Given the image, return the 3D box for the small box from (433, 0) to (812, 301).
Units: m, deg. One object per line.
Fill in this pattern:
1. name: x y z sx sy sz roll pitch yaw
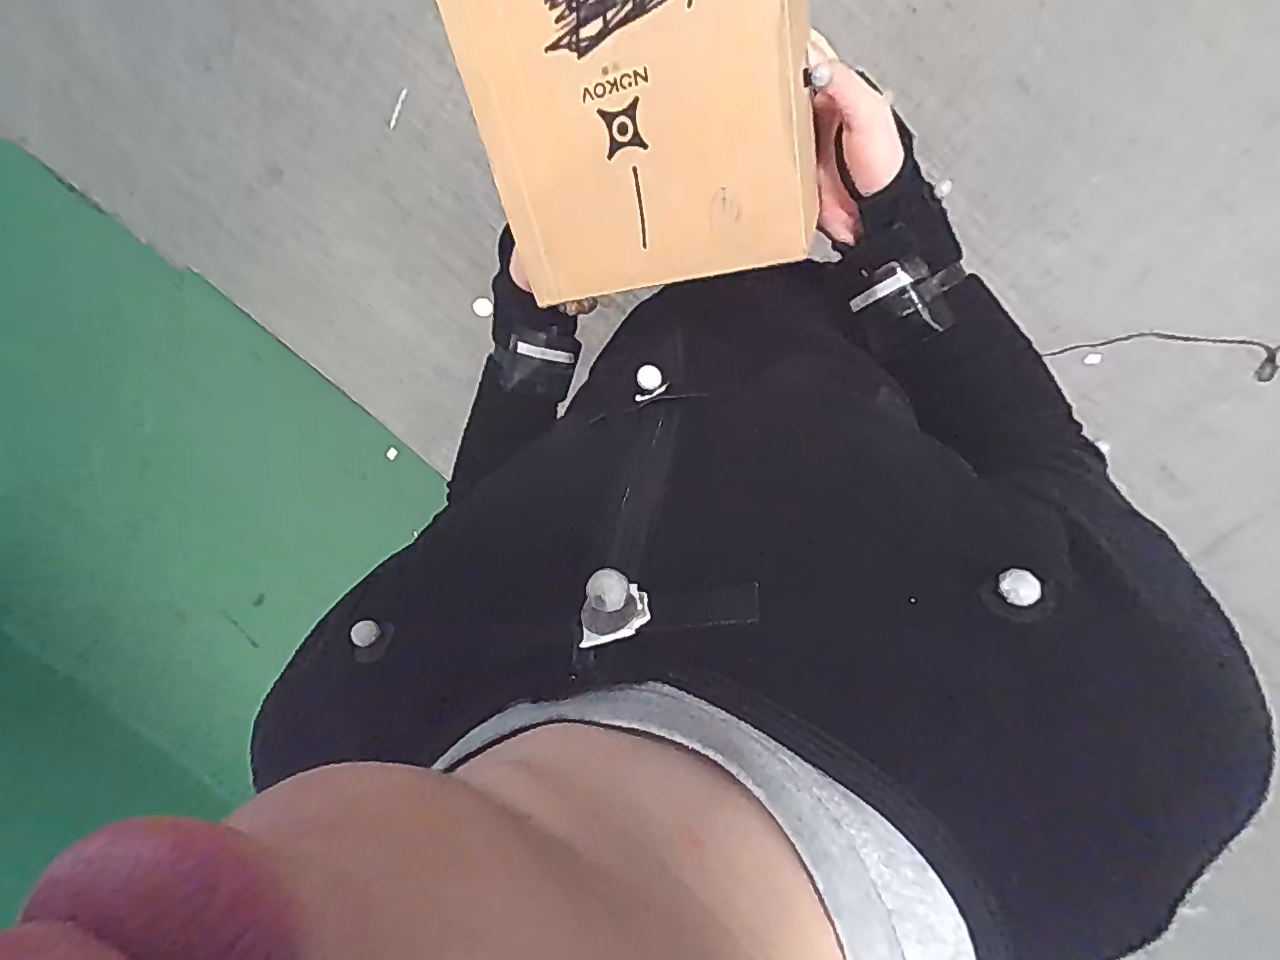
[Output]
1. small box: 0.011 -0.228 0.328 0.168 0.176 0.179 -1 123 23
